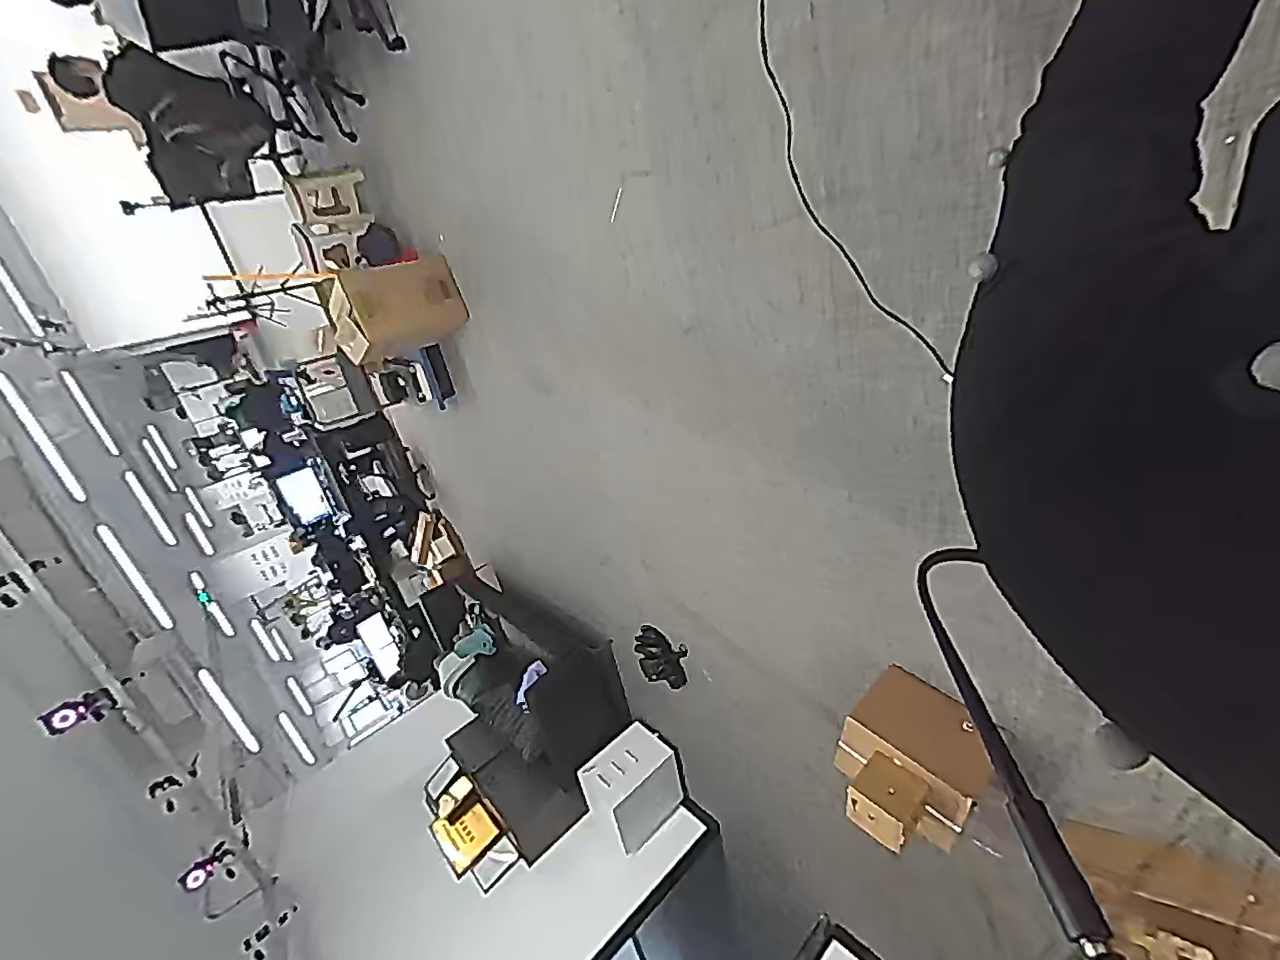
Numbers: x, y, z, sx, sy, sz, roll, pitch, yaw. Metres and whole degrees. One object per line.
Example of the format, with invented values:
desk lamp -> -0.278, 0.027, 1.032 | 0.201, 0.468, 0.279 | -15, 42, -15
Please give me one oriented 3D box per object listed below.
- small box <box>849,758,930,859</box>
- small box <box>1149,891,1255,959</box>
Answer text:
small box -> 0.782, 1.021, 1.695 | 0.179, 0.176, 0.168 | 22, 130, 44
small box -> 1.467, 1.235, 1.409 | 0.168, 0.176, 0.179 | -10, 107, 55
